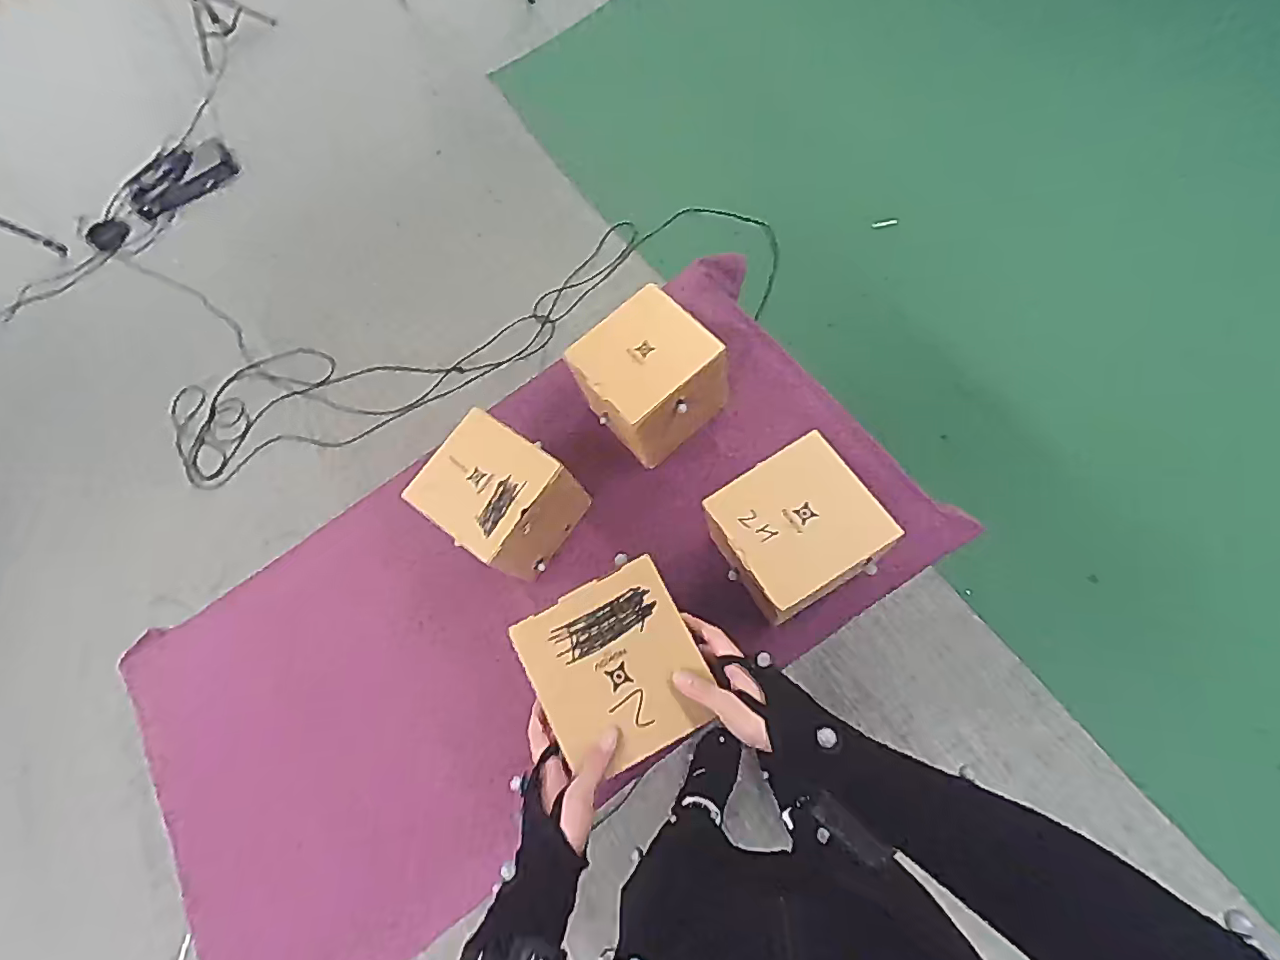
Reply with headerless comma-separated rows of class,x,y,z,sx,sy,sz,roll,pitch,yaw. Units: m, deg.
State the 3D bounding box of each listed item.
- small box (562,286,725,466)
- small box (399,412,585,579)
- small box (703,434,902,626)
small box,0.014,-0.153,0.838,0.179,0.176,0.168,-42,69,-4
small box,-0.208,0.033,0.813,0.179,0.176,0.168,32,79,20
small box,0.202,0.074,0.716,0.179,0.176,0.168,-32,66,-1
